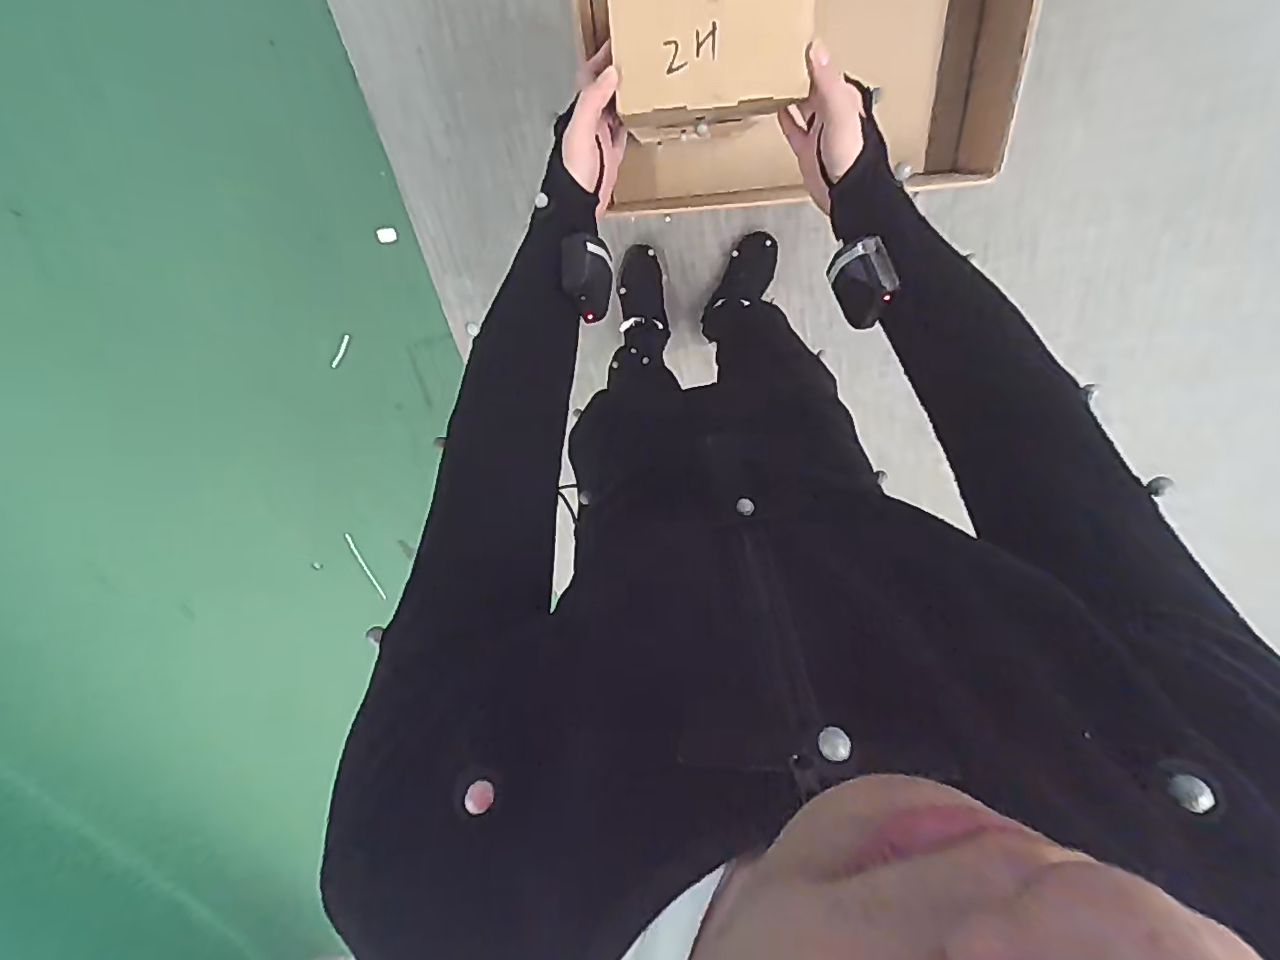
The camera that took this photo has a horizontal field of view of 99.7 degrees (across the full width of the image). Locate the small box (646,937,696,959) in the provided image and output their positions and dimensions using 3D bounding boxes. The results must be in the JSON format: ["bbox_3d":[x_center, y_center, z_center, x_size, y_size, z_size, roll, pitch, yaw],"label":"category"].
[{"bbox_3d":[0.117,1.784,1.953,0.168,0.176,0.179,-9,122,6],"label":"small box"}]

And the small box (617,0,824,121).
[{"bbox_3d":[0.062,-0.434,0.483,0.168,0.176,0.179,-3,122,3],"label":"small box"}]
